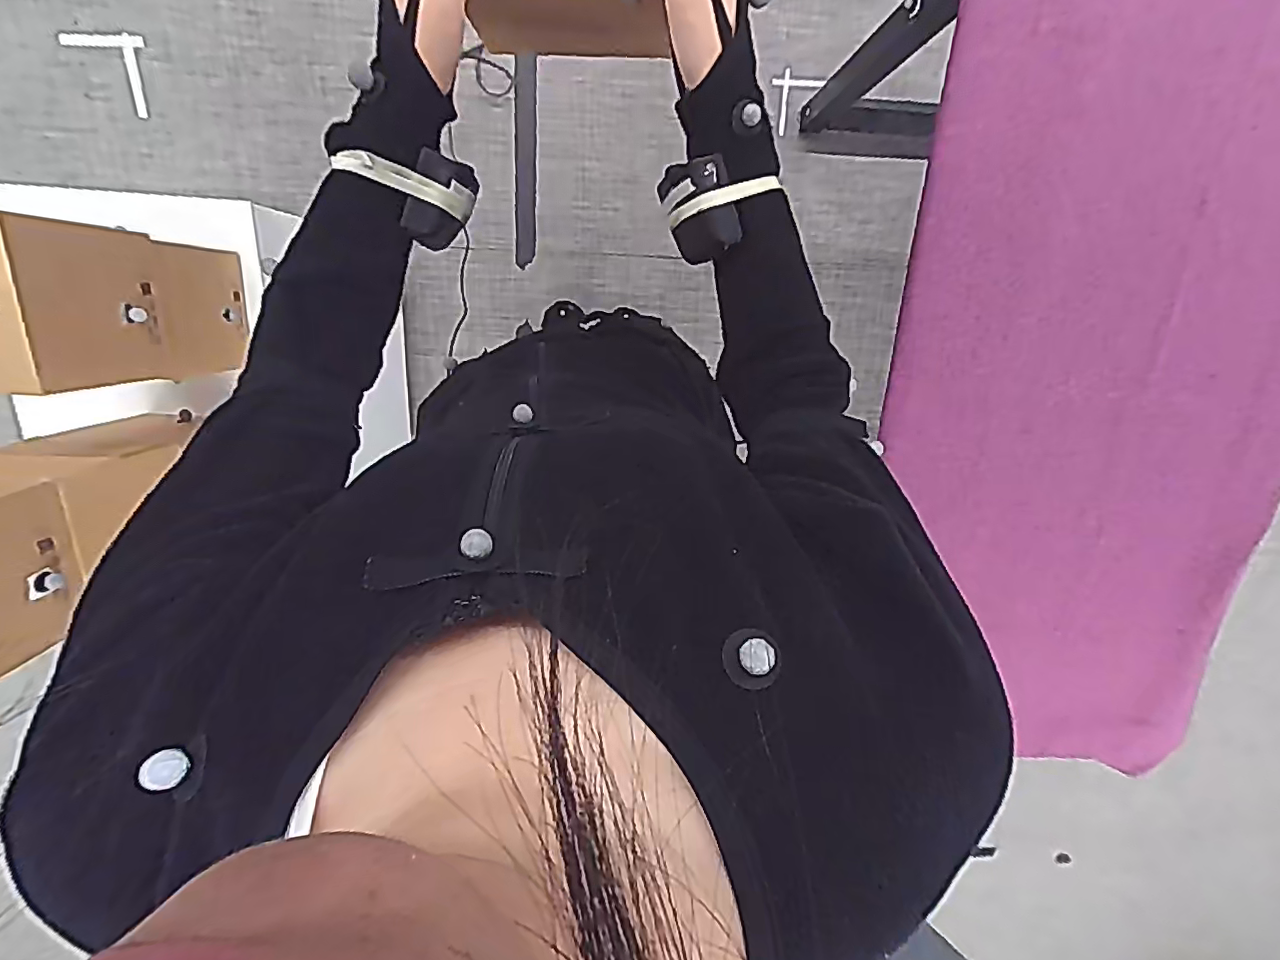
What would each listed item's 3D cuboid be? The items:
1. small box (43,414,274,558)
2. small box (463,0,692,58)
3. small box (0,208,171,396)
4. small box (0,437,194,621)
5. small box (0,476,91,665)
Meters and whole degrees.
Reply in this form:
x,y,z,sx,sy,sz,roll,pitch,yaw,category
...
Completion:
x,y,z,sx,sy,sz,roll,pitch,yaw,category
-0.680,0.000,0.788,0.179,0.176,0.168,3,107,-3,small box
-0.043,-0.425,0.374,0.179,0.176,0.168,2,108,0,small box
-0.647,-0.187,0.557,0.179,0.176,0.168,4,108,-5,small box
-0.671,0.048,0.632,0.179,0.176,0.168,2,107,-3,small box
-0.666,0.095,0.477,0.179,0.176,0.168,1,108,-3,small box
